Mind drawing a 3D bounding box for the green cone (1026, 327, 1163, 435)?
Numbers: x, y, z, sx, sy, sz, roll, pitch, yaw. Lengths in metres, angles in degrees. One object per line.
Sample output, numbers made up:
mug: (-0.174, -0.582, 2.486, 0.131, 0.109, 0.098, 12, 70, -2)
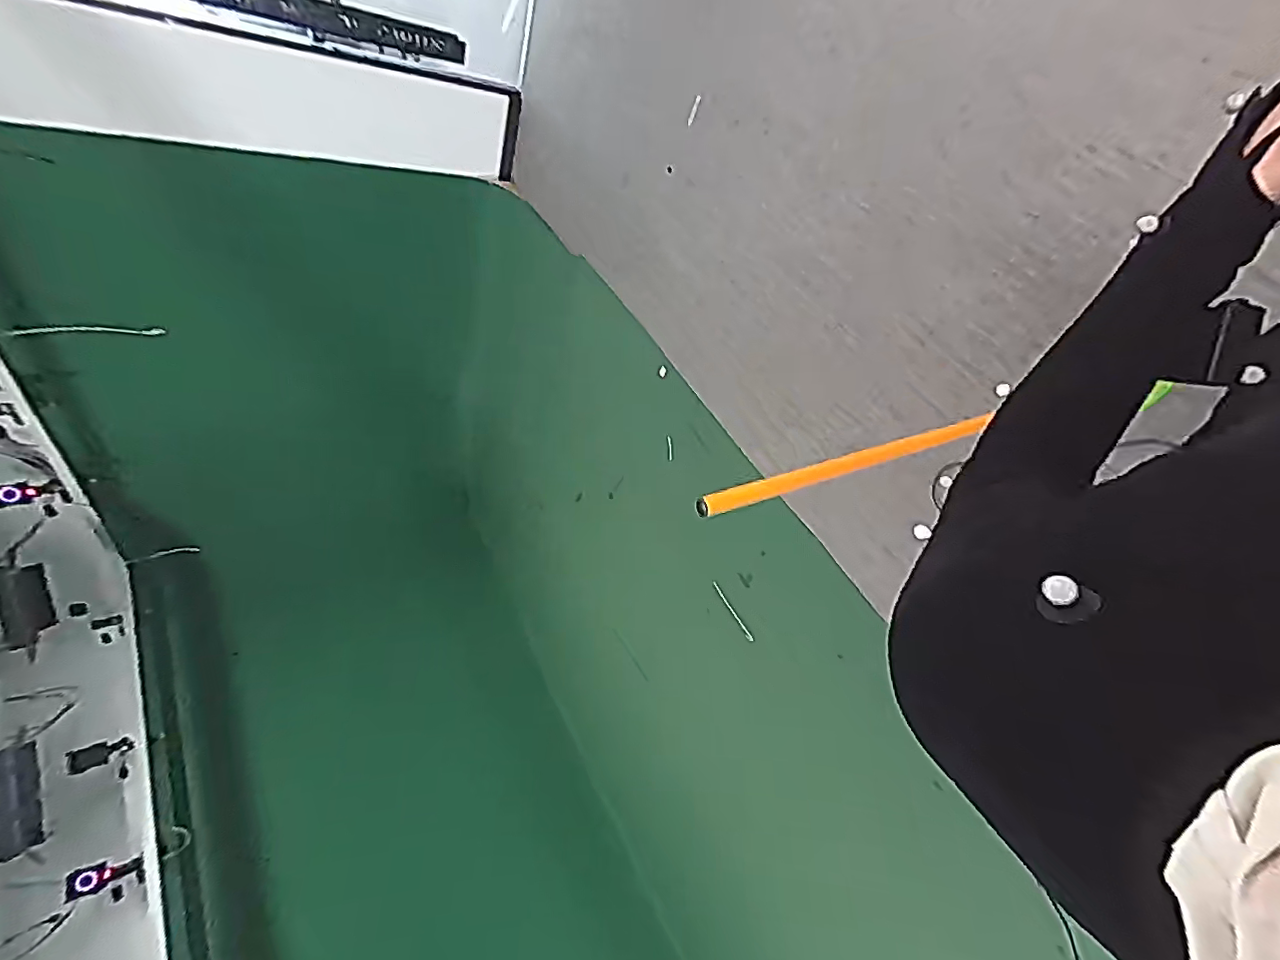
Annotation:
green cone: (0.951, -0.199, 1.205, 0.202, 0.368, 0.200, 54, 140, 25)
